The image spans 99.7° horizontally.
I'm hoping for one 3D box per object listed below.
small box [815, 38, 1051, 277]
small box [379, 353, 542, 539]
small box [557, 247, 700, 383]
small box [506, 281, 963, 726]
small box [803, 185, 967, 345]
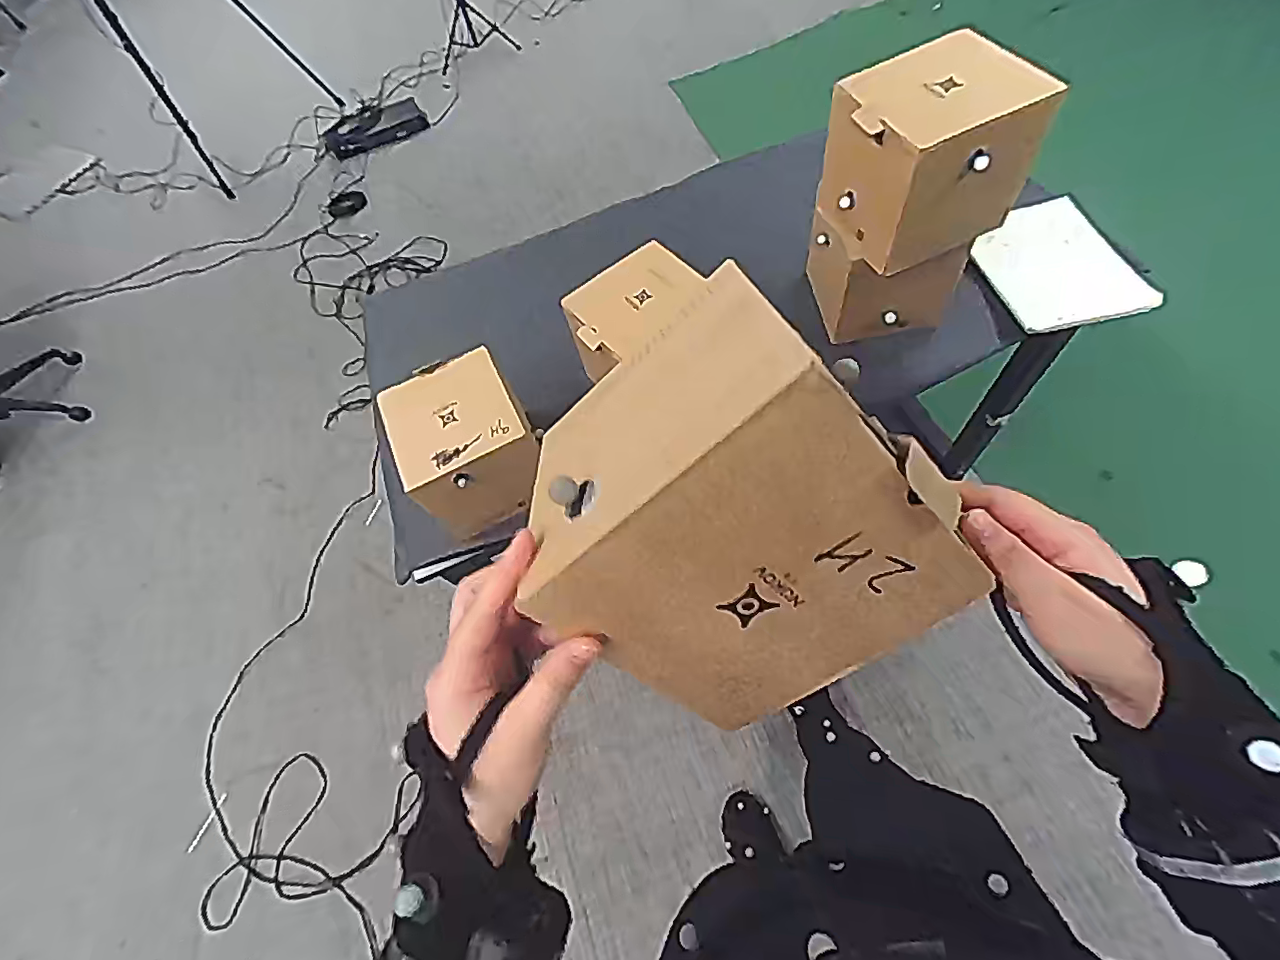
[{"bbox_3d":[0.341,-0.393,0.674,0.179,0.176,0.168,-24,61,-1],"label":"small box"},{"bbox_3d":[-0.244,-0.044,0.788,0.168,0.176,0.179,-27,62,-5],"label":"small box"},{"bbox_3d":[0.006,-0.210,0.830,0.179,0.176,0.168,-37,63,-10],"label":"small box"},{"bbox_3d":[0.045,0.011,0.337,0.179,0.168,0.176,-40,28,20],"label":"small box"},{"bbox_3d":[0.356,-0.338,0.828,0.168,0.176,0.179,-9,62,6],"label":"small box"}]
